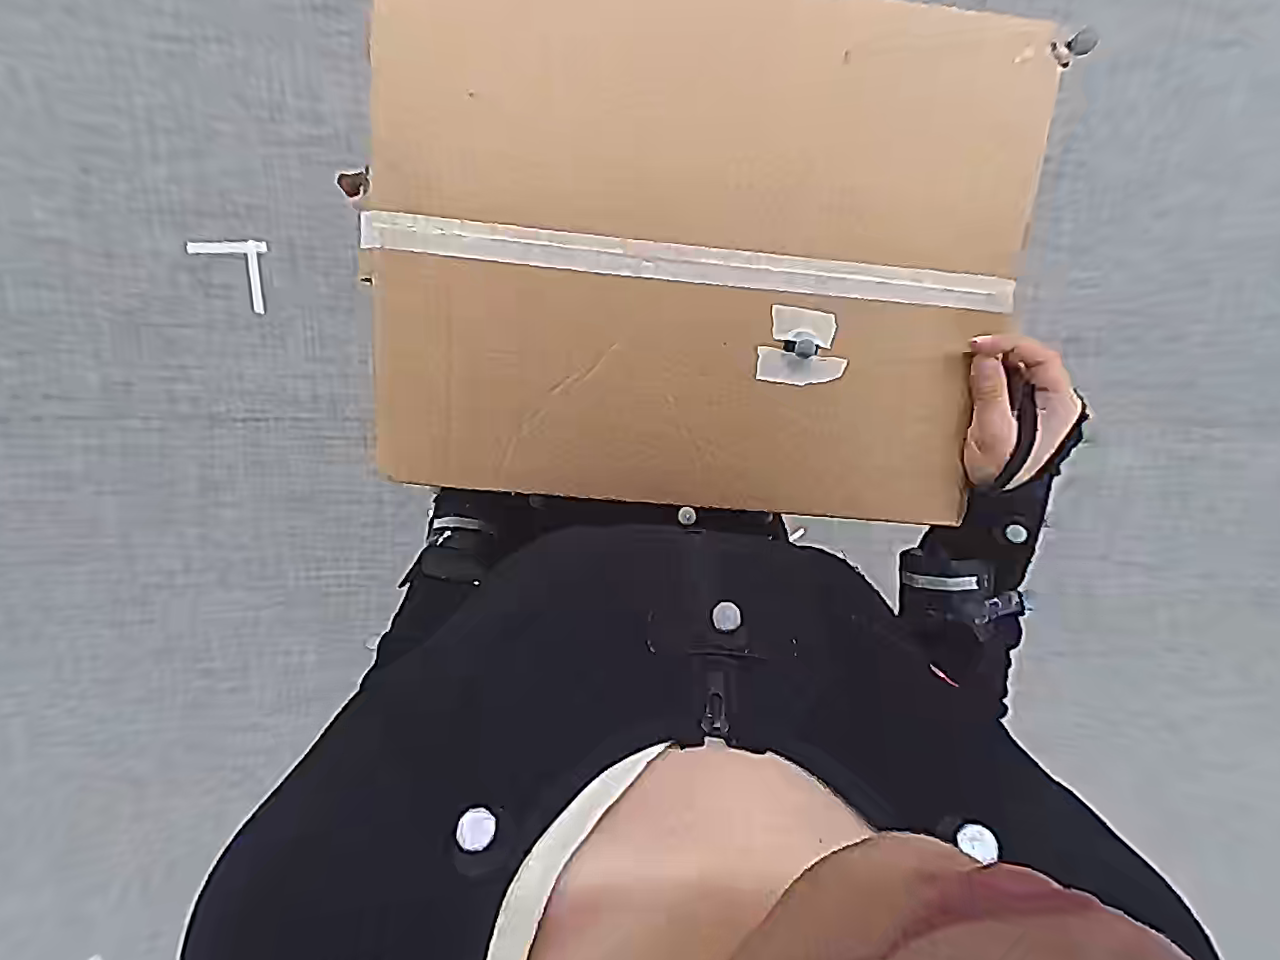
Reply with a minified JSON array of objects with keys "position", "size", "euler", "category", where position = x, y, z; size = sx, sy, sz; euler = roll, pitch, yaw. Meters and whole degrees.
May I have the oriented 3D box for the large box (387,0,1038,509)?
[{"position":[0.031,-0.167,0.495],"size":[0.408,0.320,0.320],"euler":[4,102,-5],"category":"large box"}]
